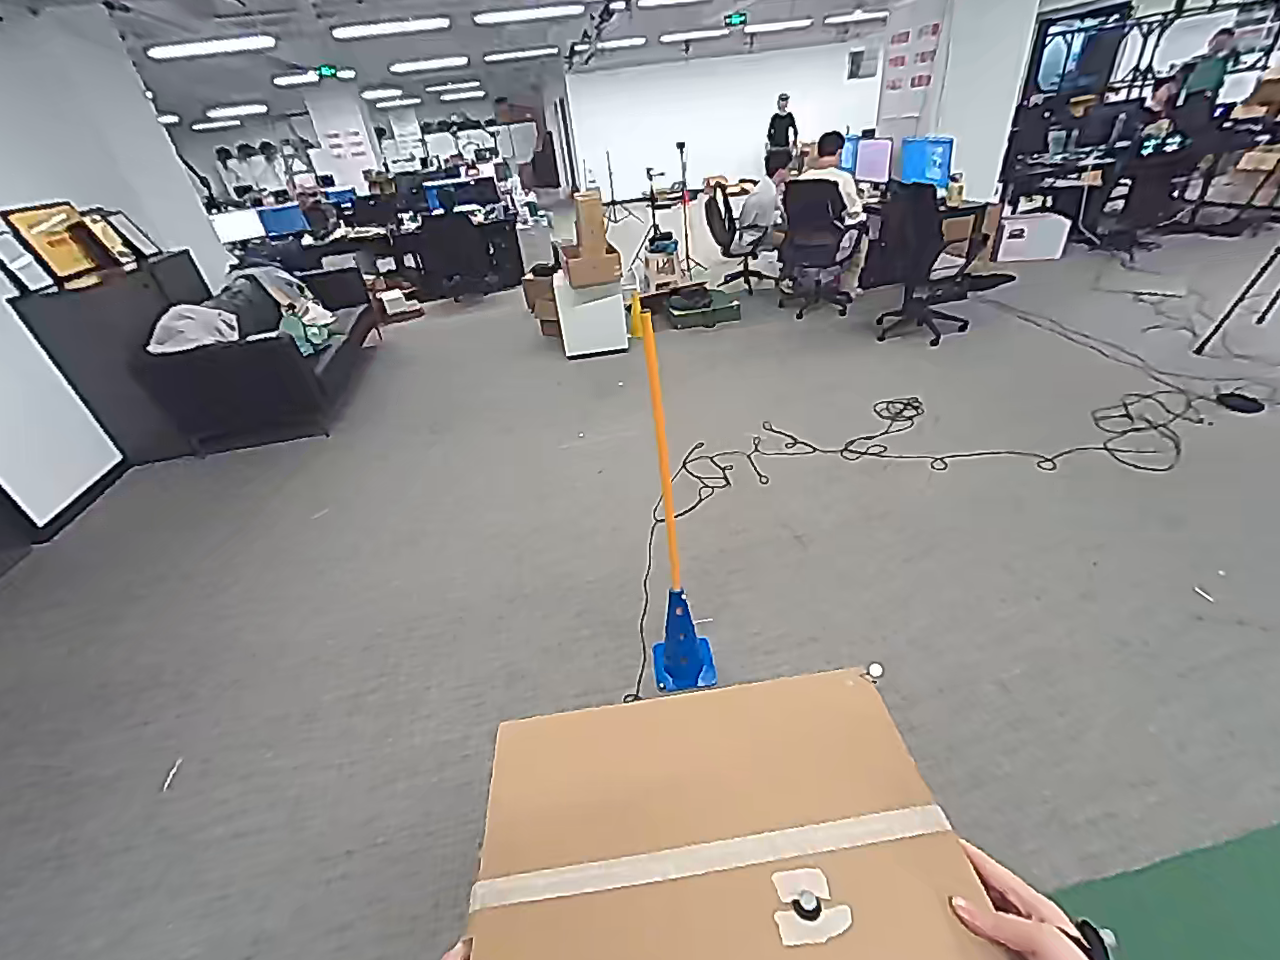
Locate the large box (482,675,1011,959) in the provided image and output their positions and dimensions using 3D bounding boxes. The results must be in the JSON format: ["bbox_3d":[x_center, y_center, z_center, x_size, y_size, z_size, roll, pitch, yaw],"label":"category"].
[{"bbox_3d":[0.079,0.451,0.550,0.408,0.320,0.320,-8,35,-2],"label":"large box"}]

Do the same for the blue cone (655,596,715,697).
[{"bbox_3d":[0.132,0.512,1.748,0.193,0.380,0.192,-7,33,1],"label":"blue cone"}]
